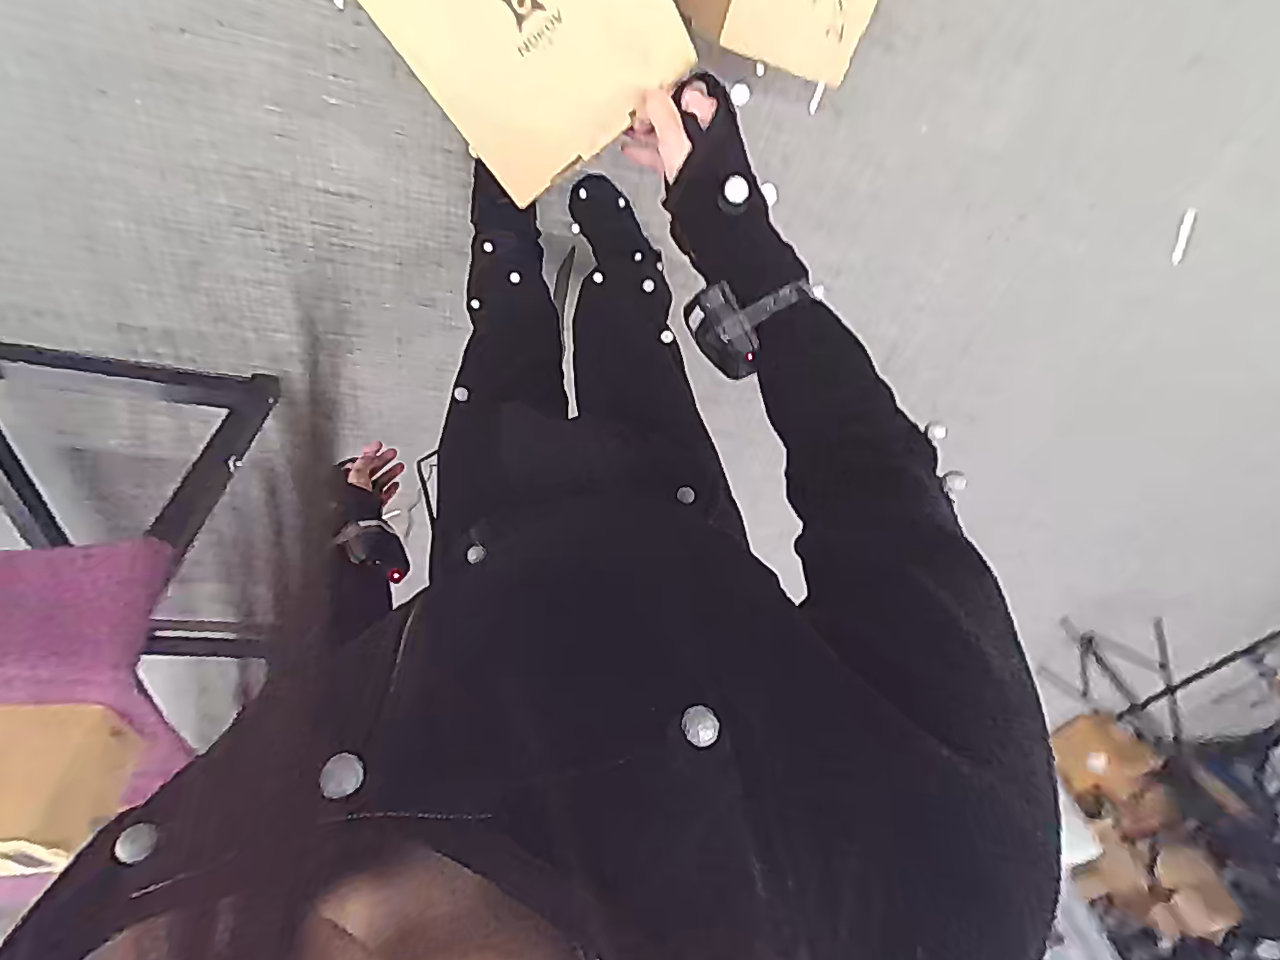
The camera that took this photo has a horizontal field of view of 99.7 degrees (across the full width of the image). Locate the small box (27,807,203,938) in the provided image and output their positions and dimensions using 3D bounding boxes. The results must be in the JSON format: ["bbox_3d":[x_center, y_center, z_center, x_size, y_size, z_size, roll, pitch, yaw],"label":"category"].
[{"bbox_3d":[-0.977,0.738,1.028,0.168,0.176,0.179,7,132,-17],"label":"small box"}]

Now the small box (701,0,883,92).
[{"bbox_3d":[0.194,-0.628,0.684,0.179,0.176,0.168,7,134,-17],"label":"small box"}]

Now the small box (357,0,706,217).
[{"bbox_3d":[-0.078,-0.340,0.400,0.168,0.176,0.179,-33,128,14],"label":"small box"}]
